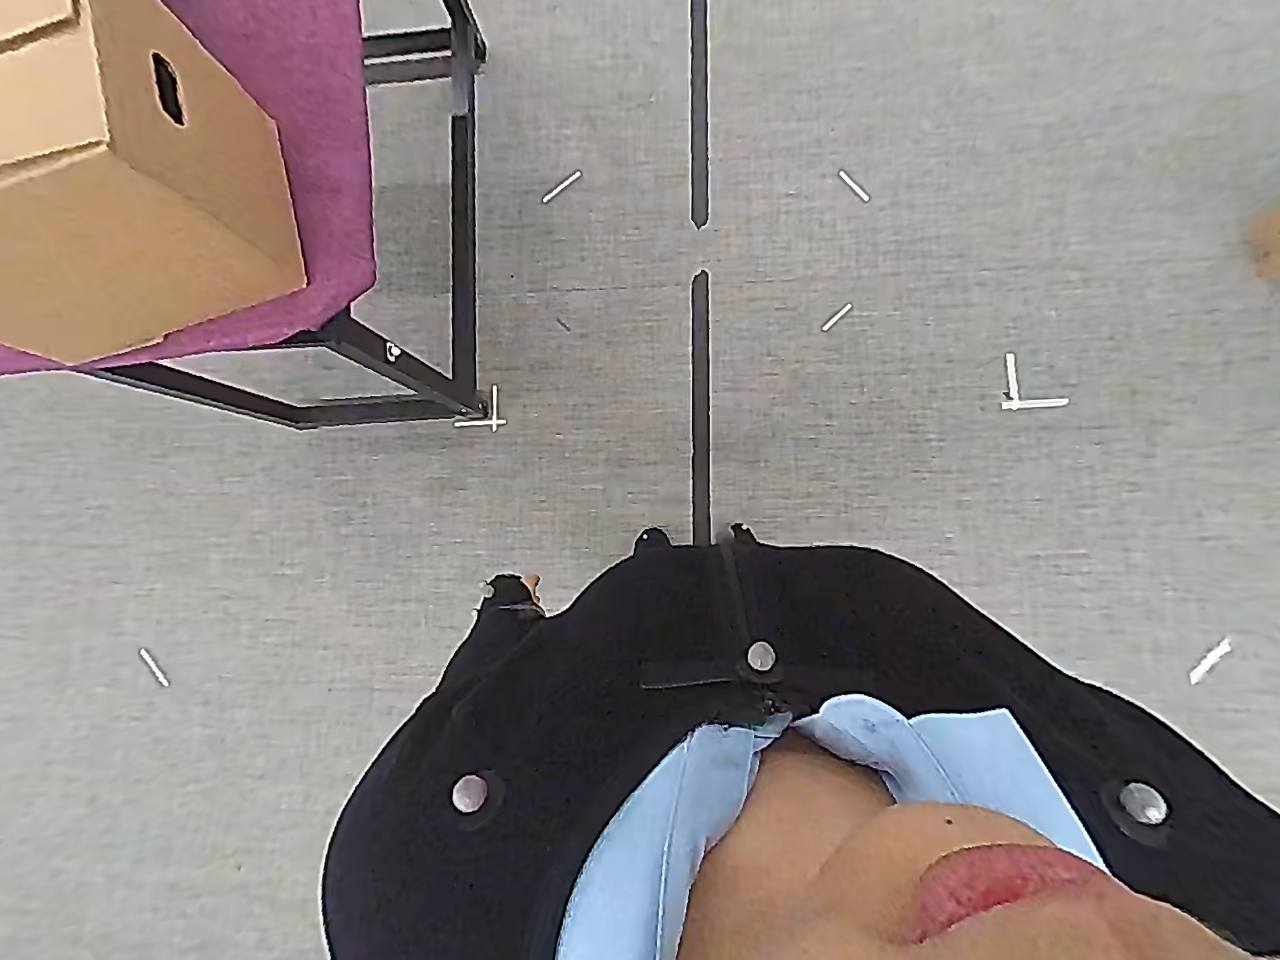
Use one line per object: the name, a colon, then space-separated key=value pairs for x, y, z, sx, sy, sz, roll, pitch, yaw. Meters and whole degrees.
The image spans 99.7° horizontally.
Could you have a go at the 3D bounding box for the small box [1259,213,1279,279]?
small box: x=1.772 y=-0.635 z=1.395 sx=0.179 sy=0.176 sz=0.168 roll=-3 pitch=85 yaw=3
